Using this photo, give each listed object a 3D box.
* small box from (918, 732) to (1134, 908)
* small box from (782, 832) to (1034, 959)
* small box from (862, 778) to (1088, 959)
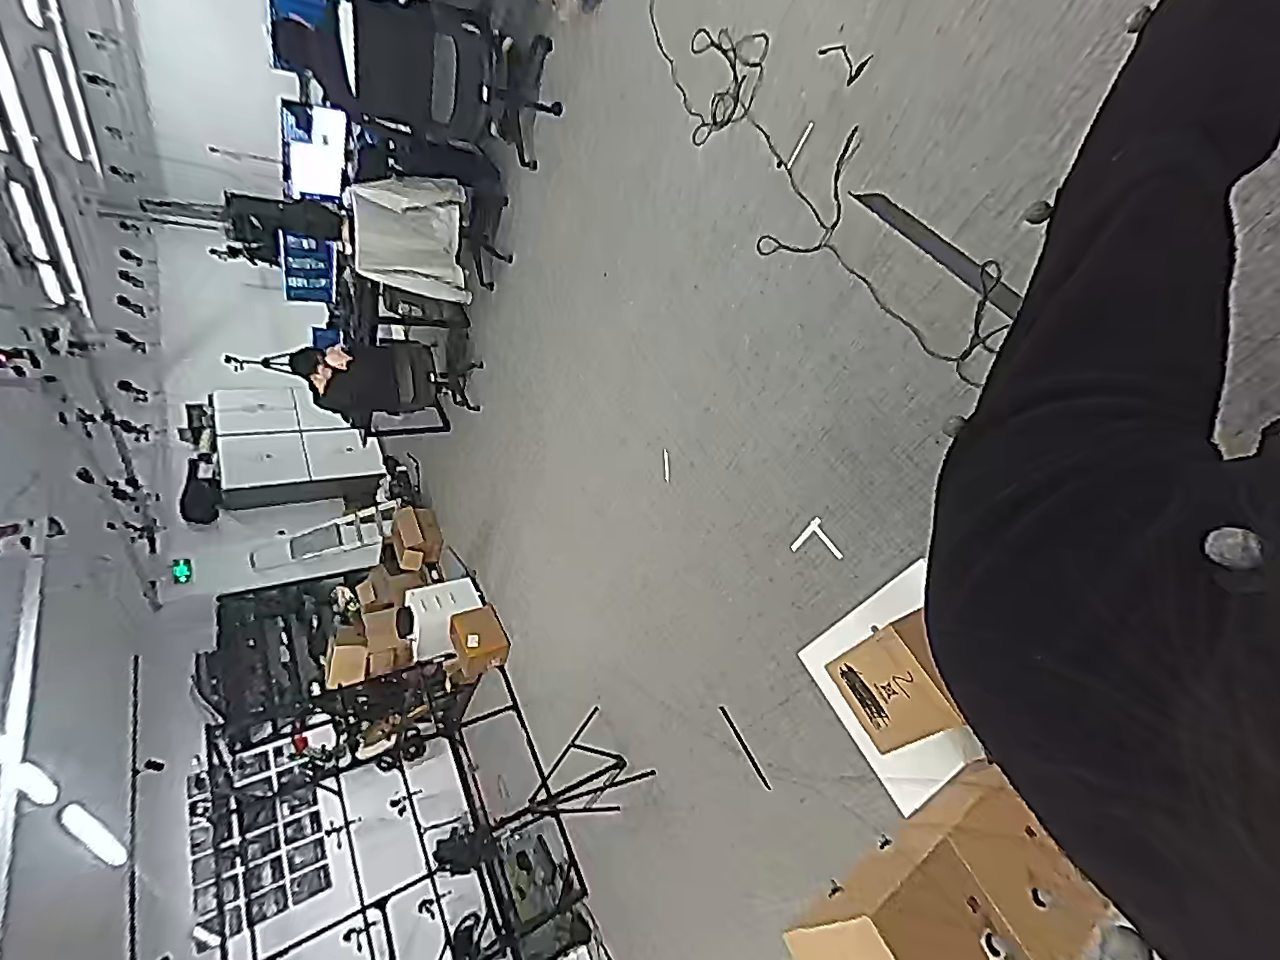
[{"bbox_3d":[0.575,0.510,0.811,0.168,0.176,0.179,59,141,29],"label":"small box"},{"bbox_3d":[0.309,0.550,0.627,0.168,0.176,0.179,57,138,29],"label":"small box"},{"bbox_3d":[0.442,0.529,0.718,0.168,0.176,0.179,58,140,29],"label":"small box"}]
